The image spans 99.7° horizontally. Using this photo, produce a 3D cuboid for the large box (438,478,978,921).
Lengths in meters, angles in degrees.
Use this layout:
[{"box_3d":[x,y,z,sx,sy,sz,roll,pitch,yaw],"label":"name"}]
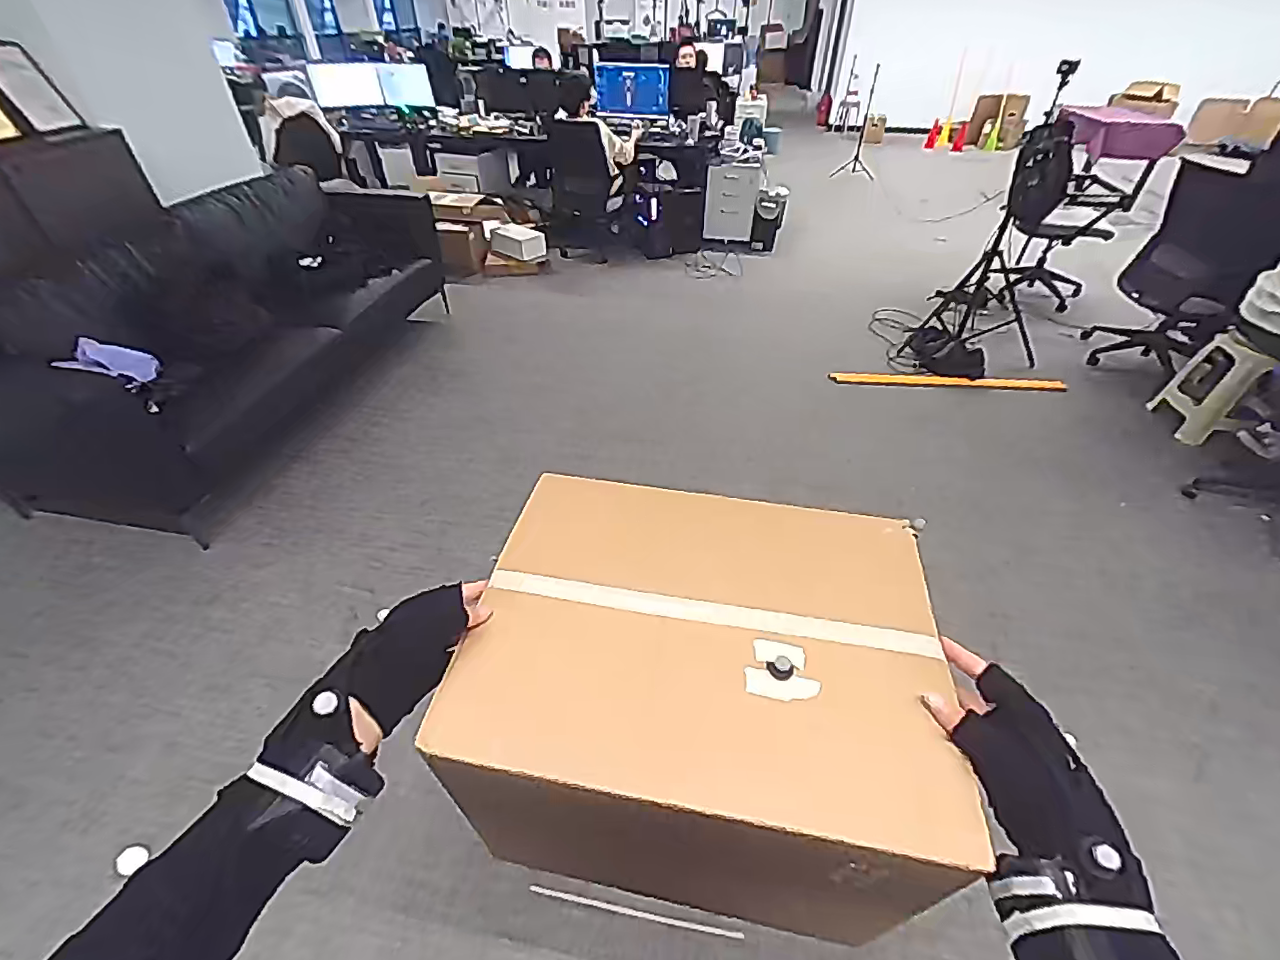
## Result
[{"box_3d":[0.062,0.230,0.599,0.408,0.320,0.320,7,44,8],"label":"large box"}]
